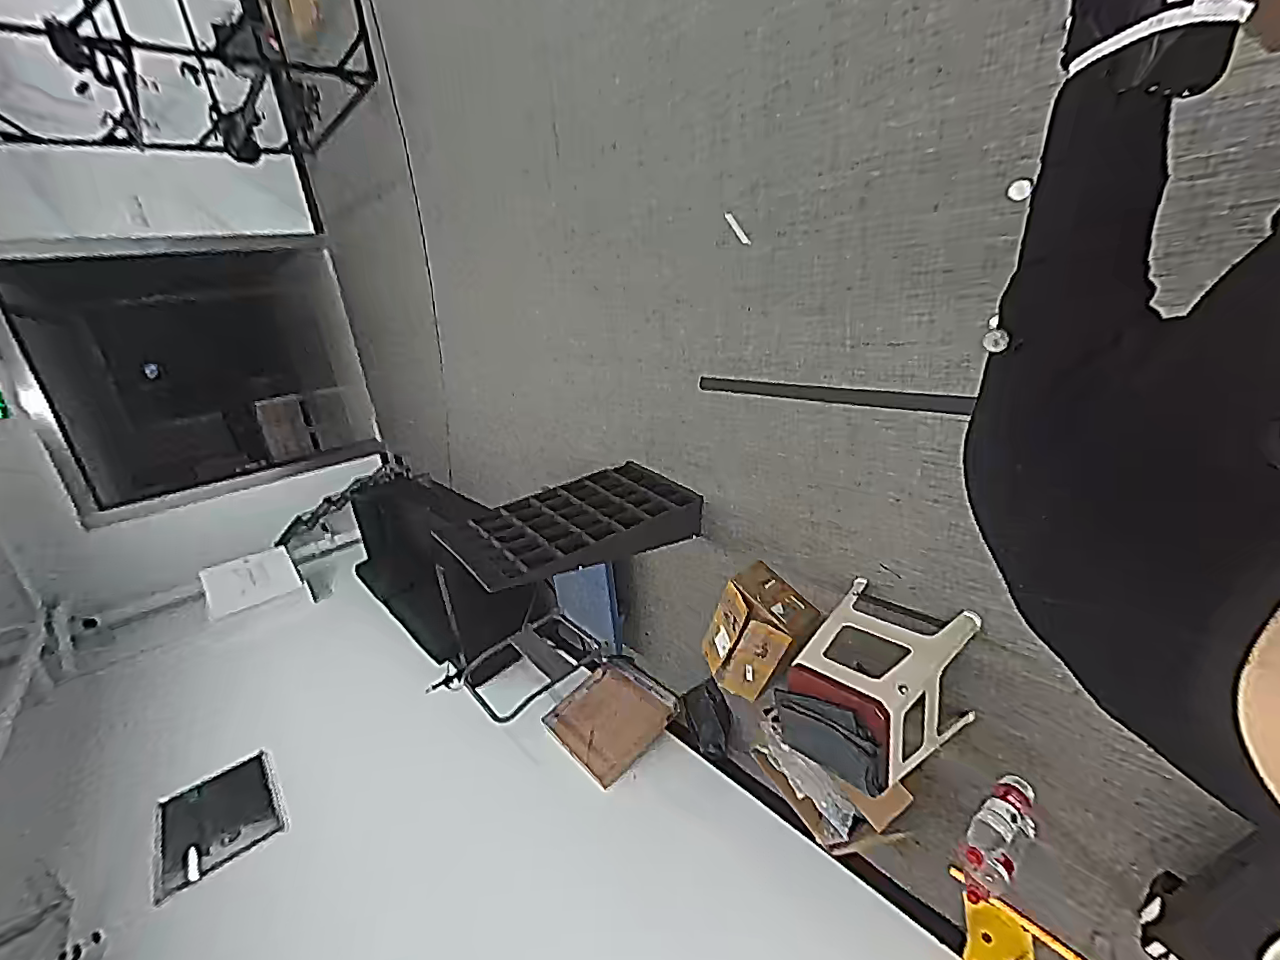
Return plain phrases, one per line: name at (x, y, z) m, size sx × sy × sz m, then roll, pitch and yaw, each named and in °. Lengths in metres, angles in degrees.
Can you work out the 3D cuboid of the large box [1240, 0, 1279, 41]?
large box at (0.575, -0.497, 0.240) m, size 0.408 × 0.320 × 0.320 m, roll 10°, pitch 116°, yaw 53°
